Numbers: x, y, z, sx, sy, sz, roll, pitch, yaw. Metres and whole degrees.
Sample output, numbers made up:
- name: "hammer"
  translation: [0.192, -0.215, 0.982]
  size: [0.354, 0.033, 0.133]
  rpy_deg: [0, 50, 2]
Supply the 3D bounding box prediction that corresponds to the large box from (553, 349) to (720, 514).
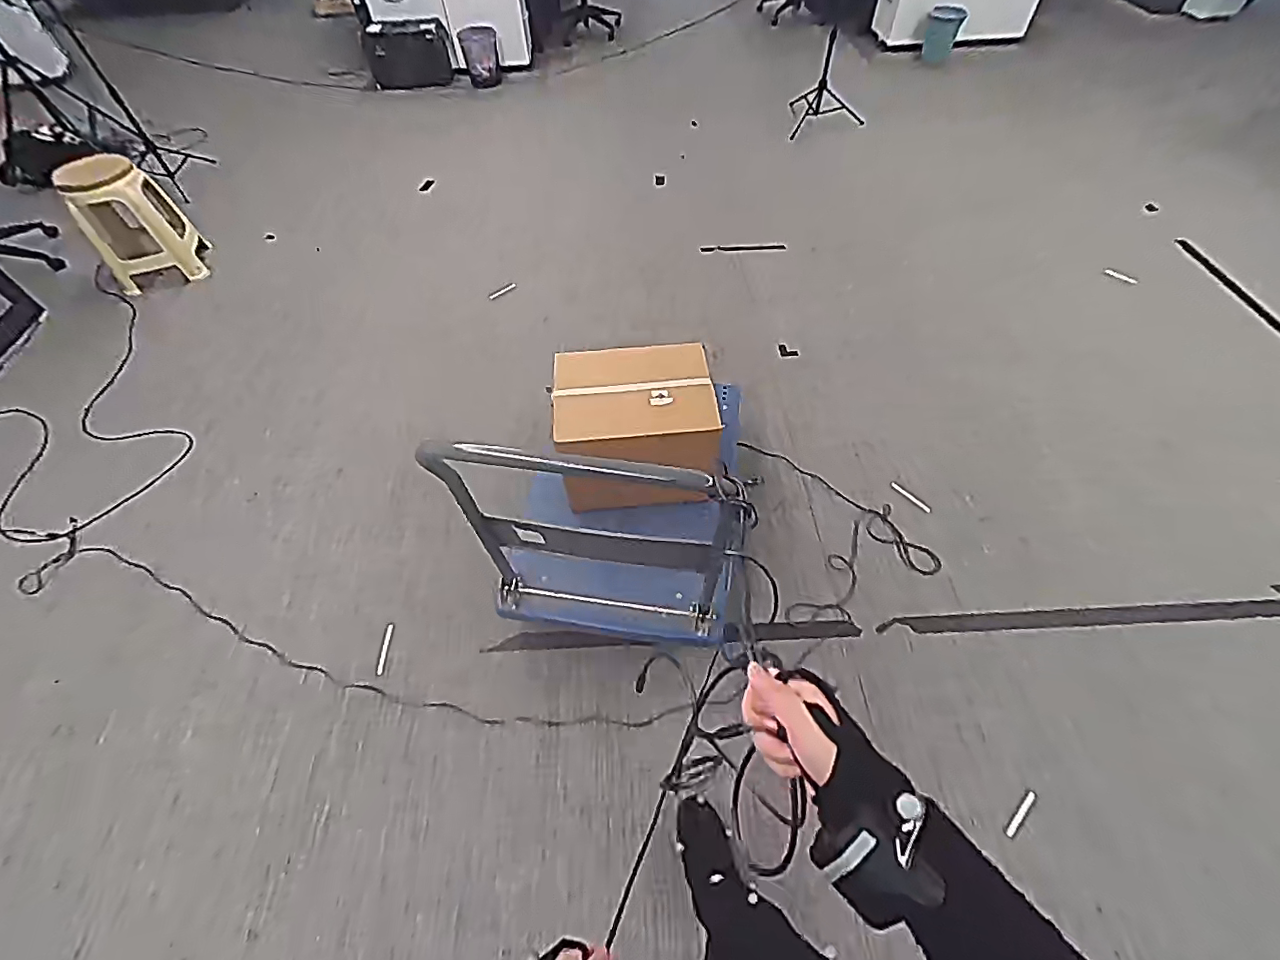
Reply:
- name: "large box"
  translation: [-0.019, -0.128, 1.485]
  size: [0.408, 0.320, 0.320]
  rpy_deg: [-5, 55, -2]
